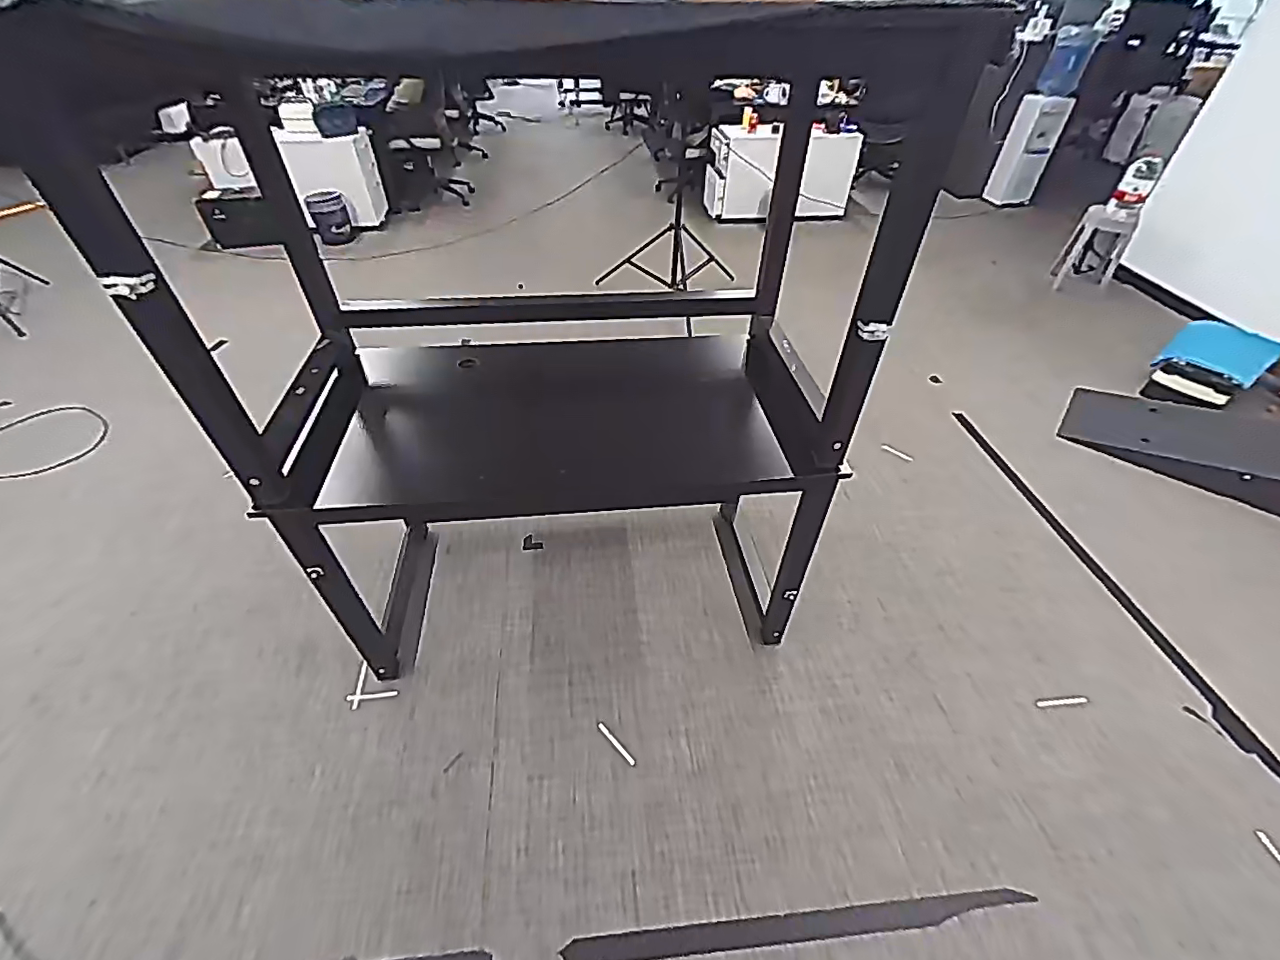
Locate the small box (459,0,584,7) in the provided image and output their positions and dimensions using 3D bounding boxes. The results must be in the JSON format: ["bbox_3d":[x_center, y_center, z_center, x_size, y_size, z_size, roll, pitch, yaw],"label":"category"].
[{"bbox_3d":[-0.149,-0.663,0.625,0.168,0.176,0.179,-3,41,-5],"label":"small box"}]

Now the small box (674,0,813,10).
[{"bbox_3d":[0.125,-0.682,0.649,0.168,0.176,0.179,-4,43,-3],"label":"small box"}]
